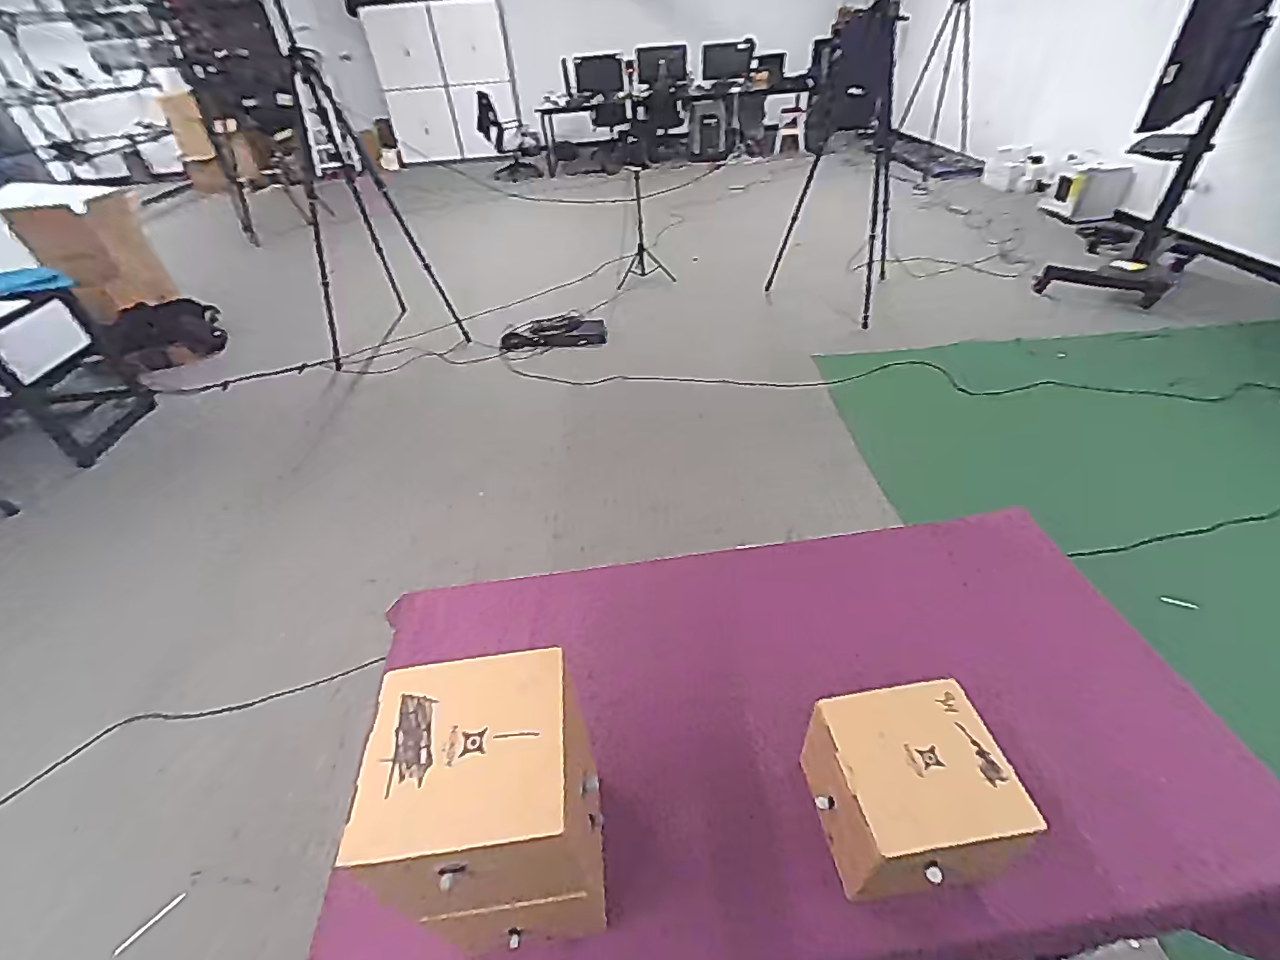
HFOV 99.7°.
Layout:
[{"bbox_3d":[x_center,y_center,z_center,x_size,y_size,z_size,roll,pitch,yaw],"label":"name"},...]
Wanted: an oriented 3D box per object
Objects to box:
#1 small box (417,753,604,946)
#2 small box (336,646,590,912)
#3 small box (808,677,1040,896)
[{"bbox_3d":[-0.135,0.413,0.630,0.168,0.176,0.179,-7,40,-2],"label":"small box"},{"bbox_3d":[-0.148,0.288,0.523,0.179,0.176,0.168,-7,40,-3],"label":"small box"},{"bbox_3d":[0.309,0.363,0.639,0.179,0.176,0.168,-8,40,-2],"label":"small box"}]
